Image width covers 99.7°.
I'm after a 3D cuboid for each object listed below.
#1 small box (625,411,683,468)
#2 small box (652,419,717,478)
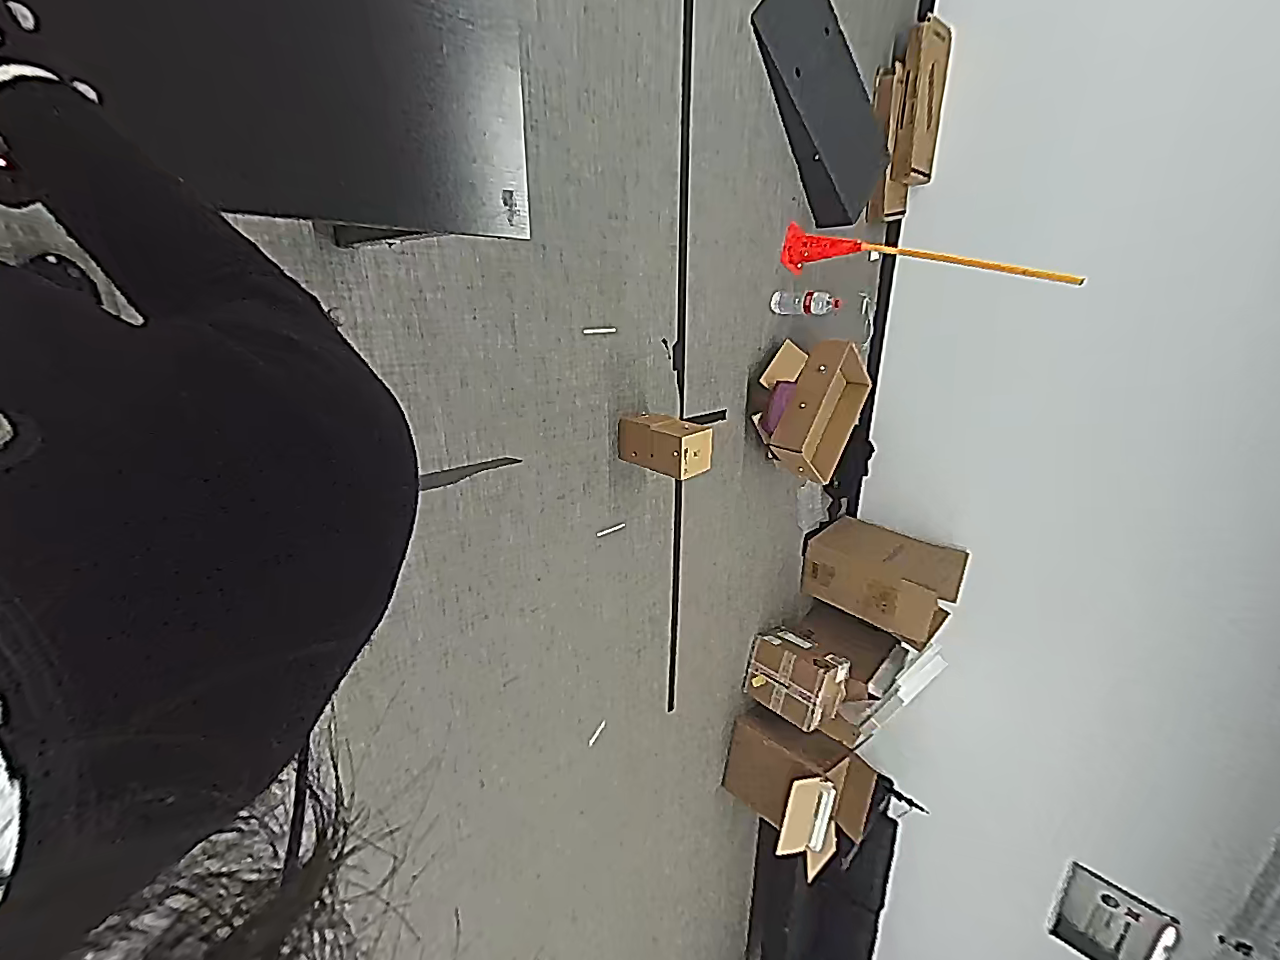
[{"bbox_3d":[0.052,-0.165,2.126,0.168,0.176,0.179,-19,116,-42],"label":"small box"},{"bbox_3d":[0.166,-0.123,2.016,0.179,0.176,0.168,-21,119,-42],"label":"small box"}]
